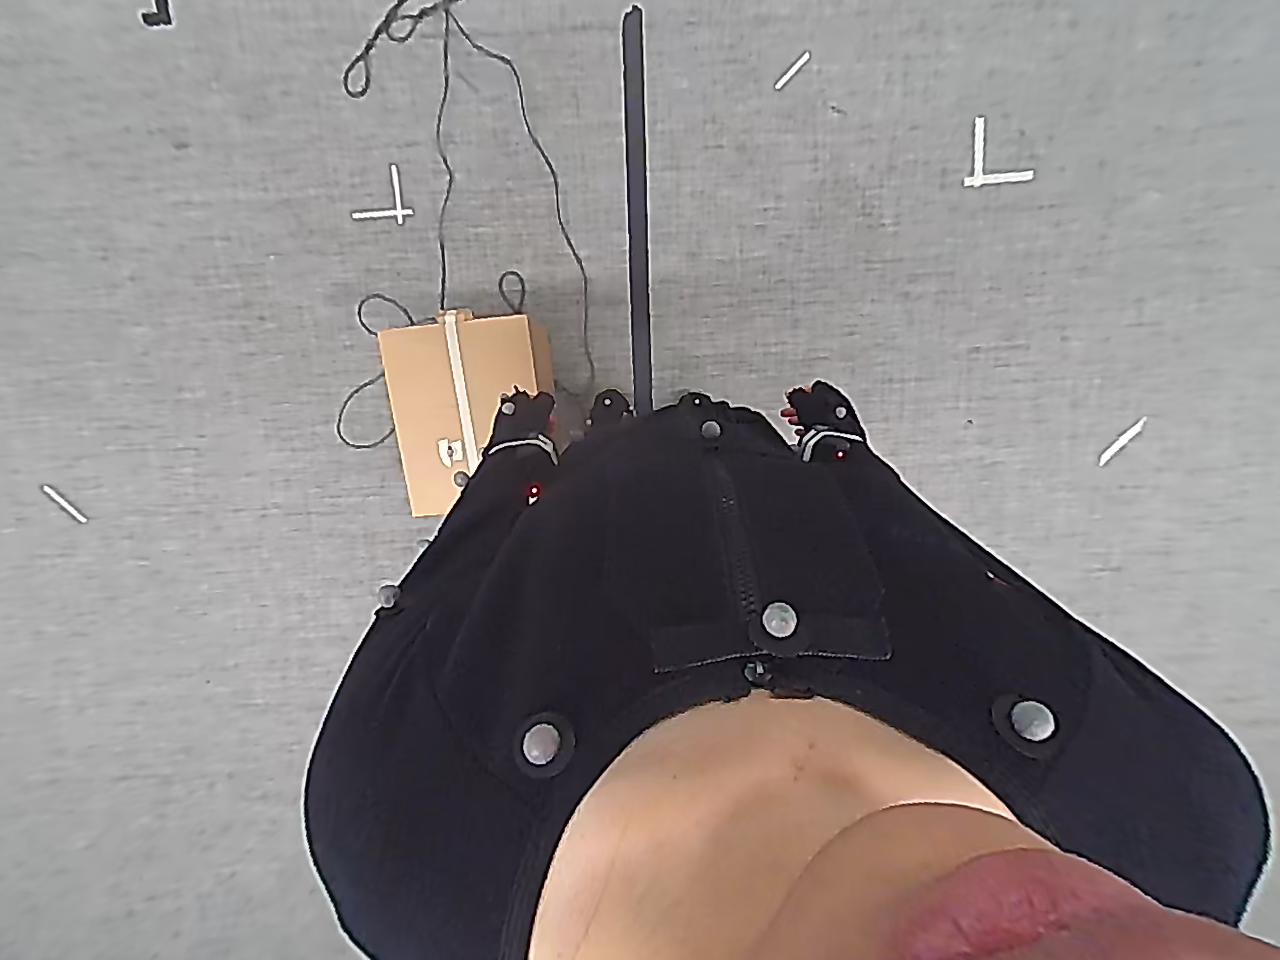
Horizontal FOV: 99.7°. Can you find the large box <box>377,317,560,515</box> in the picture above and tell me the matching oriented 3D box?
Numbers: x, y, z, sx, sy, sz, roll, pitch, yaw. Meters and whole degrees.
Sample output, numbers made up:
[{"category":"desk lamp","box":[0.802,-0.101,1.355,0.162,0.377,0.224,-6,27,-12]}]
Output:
[{"category":"large box","box":[-0.384,-0.163,1.315,0.320,0.320,0.408,-7,102,-1]}]
